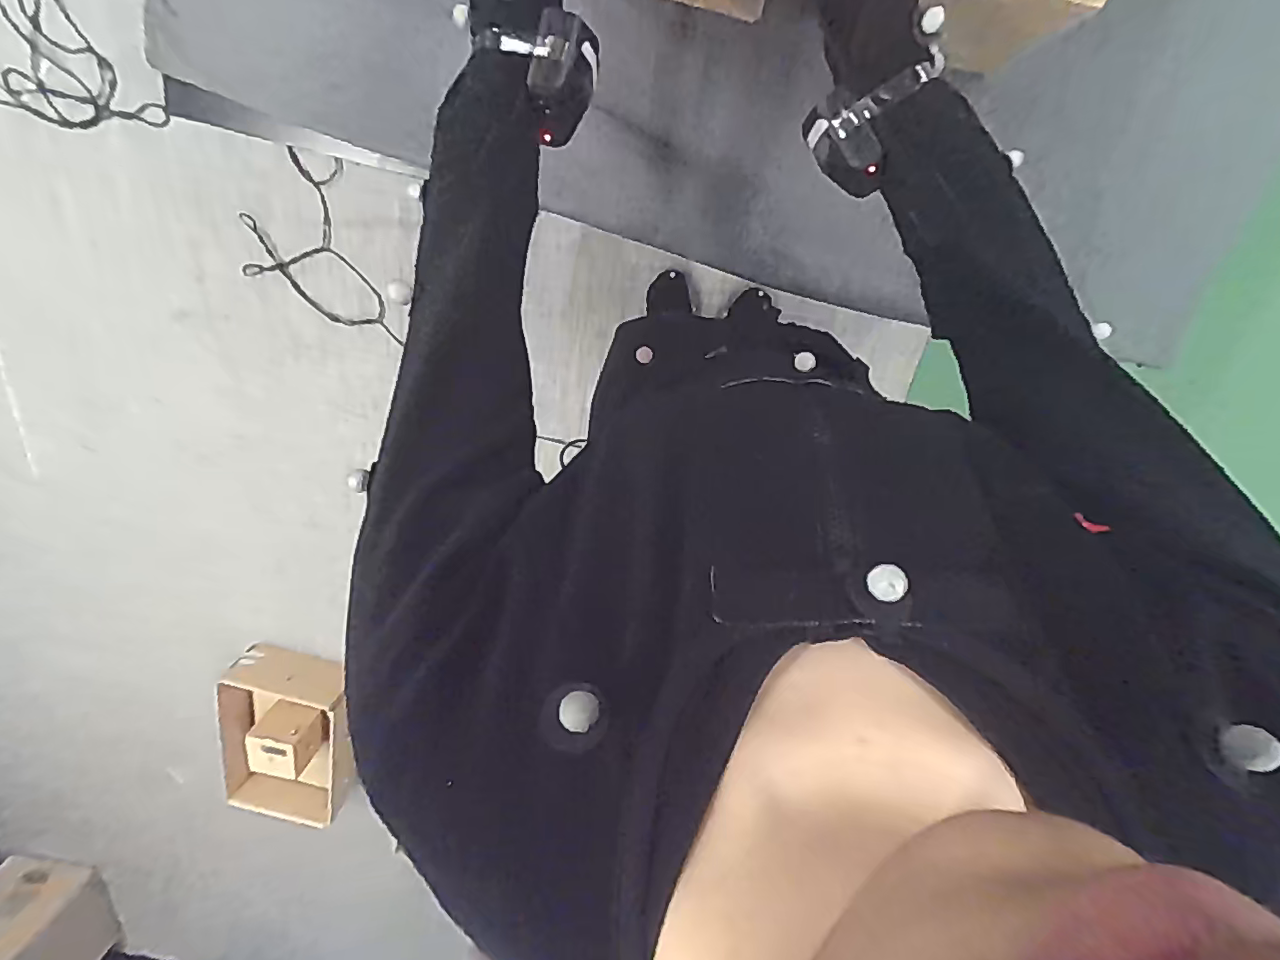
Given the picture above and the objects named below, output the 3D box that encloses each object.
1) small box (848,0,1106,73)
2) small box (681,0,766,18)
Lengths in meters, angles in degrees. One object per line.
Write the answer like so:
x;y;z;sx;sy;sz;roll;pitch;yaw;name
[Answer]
0.293;-0.478;0.443;0.168;0.176;0.179;14;113;1;small box
0.058;-0.536;0.444;0.168;0.176;0.179;15;113;0;small box
